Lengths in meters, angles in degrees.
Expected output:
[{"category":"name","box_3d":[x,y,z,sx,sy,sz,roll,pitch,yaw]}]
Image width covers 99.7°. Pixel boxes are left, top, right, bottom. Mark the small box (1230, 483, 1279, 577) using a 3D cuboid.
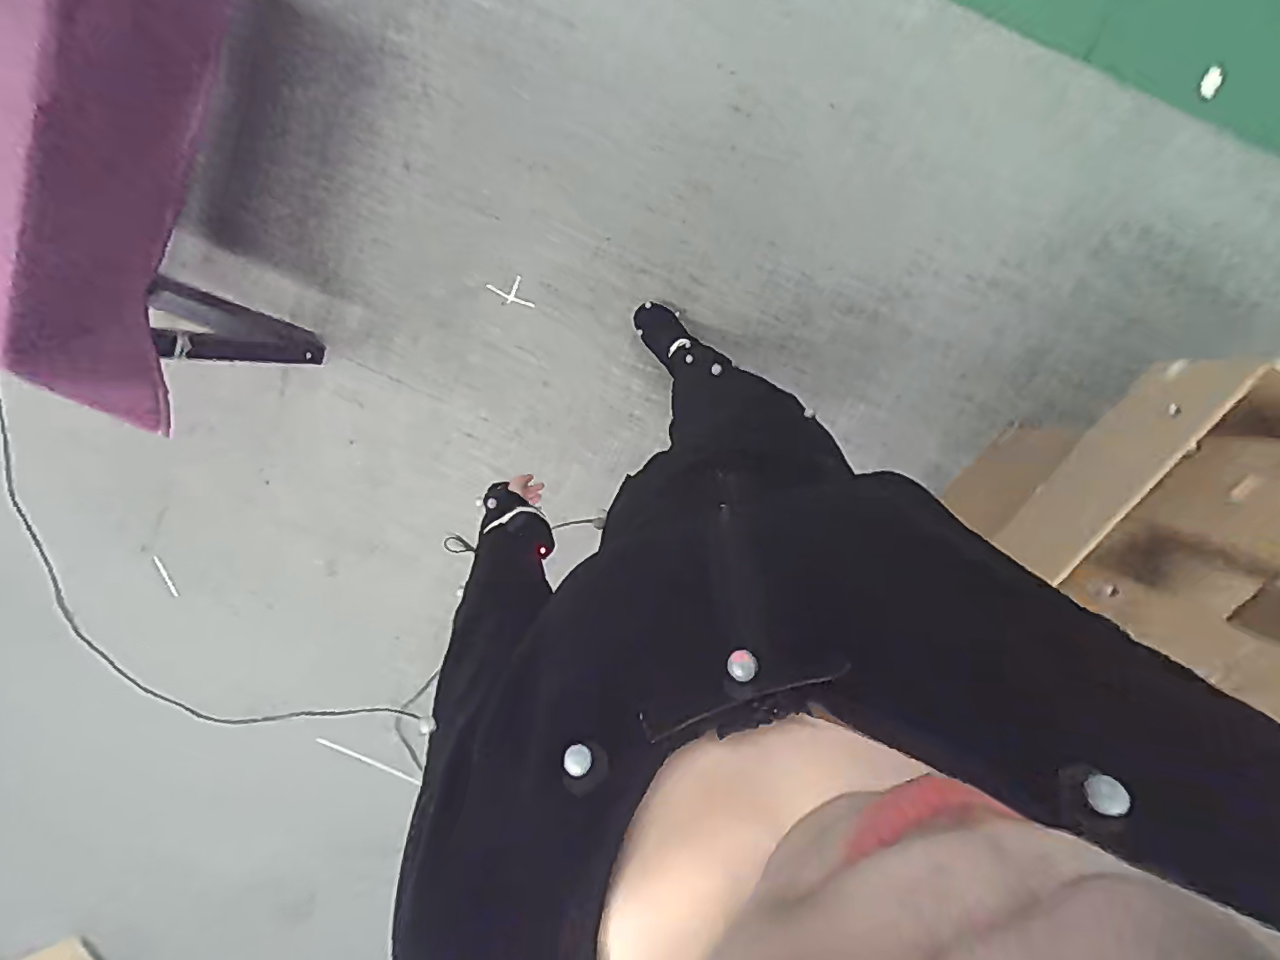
[{"category":"small box","box_3d":[0.934,0.069,0.676,0.168,0.176,0.179,34,104,-1]}]
